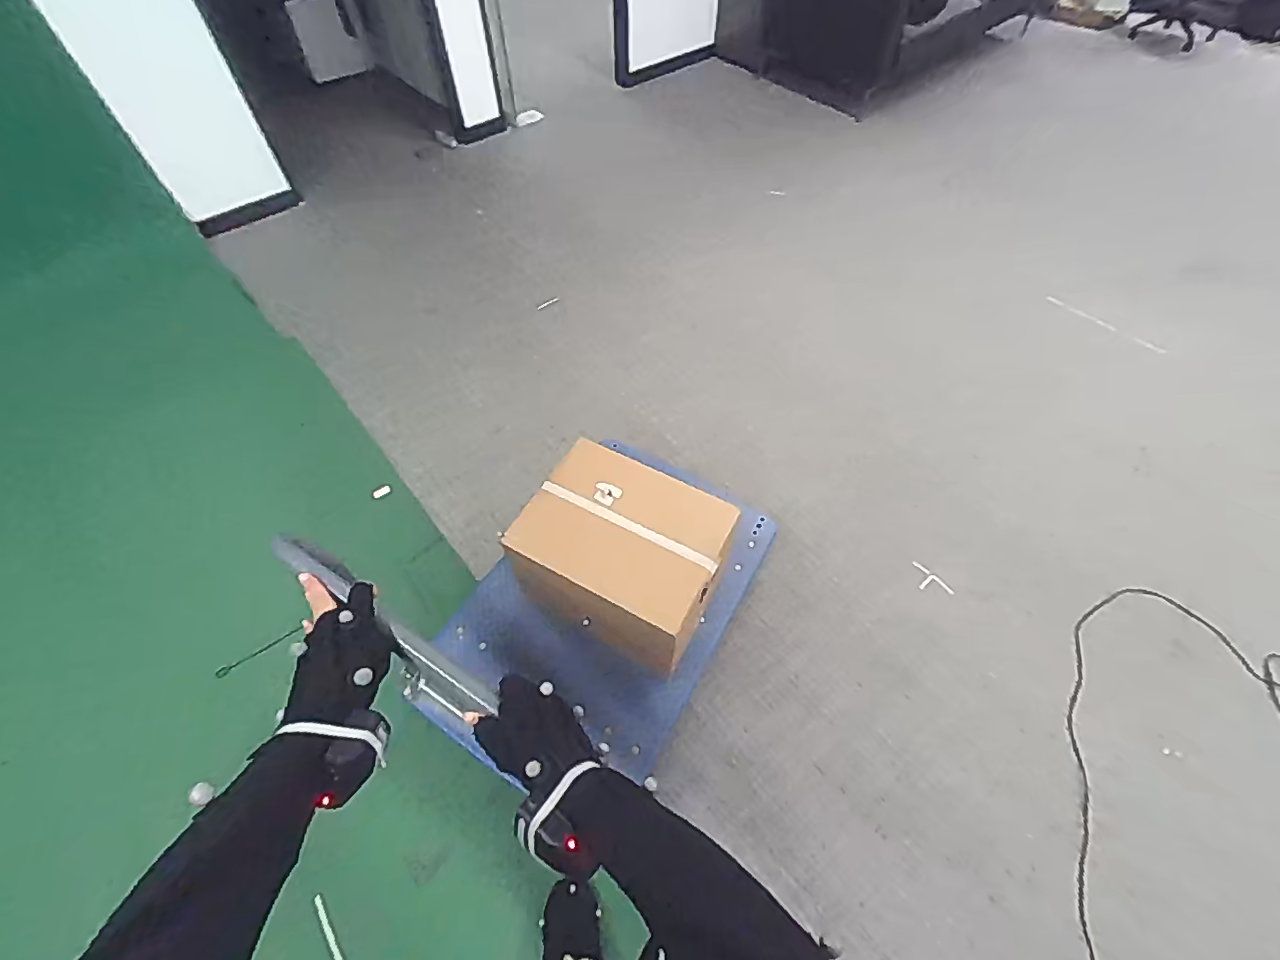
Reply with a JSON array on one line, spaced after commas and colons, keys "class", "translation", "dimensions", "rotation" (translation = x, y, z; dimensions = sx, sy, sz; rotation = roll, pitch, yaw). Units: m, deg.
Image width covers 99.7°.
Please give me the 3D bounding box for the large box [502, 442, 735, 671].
[{"class": "large box", "translation": [-0.036, 0.180, 1.249], "dimensions": [0.408, 0.320, 0.320], "rotation": [24, 58, 16]}]
